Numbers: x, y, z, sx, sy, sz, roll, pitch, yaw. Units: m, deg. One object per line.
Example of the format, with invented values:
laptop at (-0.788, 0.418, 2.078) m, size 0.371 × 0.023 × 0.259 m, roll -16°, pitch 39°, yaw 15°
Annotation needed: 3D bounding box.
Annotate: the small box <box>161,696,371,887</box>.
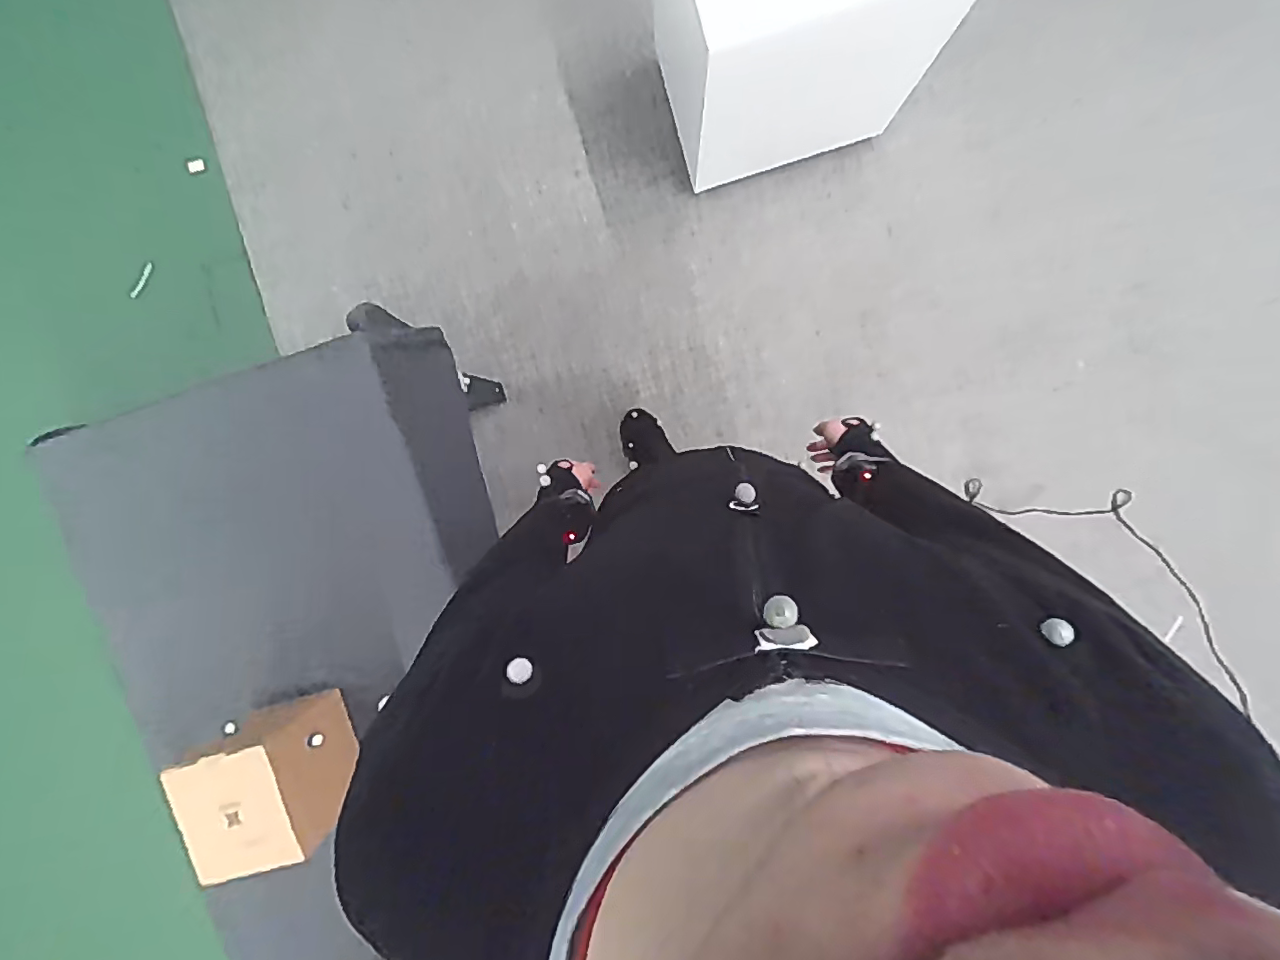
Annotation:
small box at (-0.547, 0.452, 0.816) m, size 0.168 × 0.176 × 0.179 m, roll -17°, pitch 96°, yaw 5°
